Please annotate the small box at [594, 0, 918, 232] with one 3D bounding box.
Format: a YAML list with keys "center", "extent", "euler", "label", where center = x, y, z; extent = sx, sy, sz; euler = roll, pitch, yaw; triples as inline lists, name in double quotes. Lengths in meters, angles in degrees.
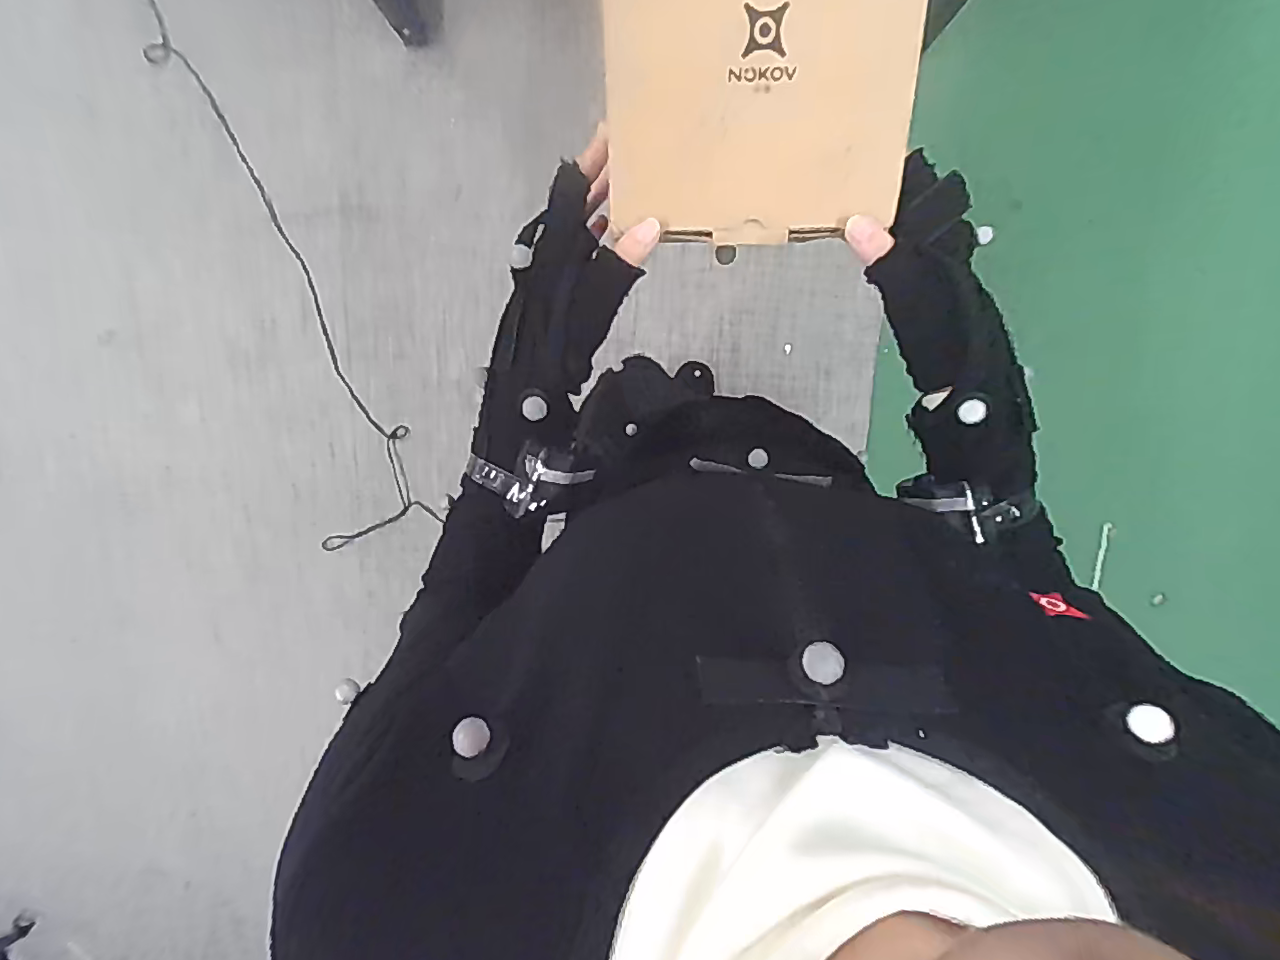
- center: [0.061, -0.262, 0.353]
  extent: [0.168, 0.176, 0.179]
  euler: [-1, 114, 1]
  label: "small box"
